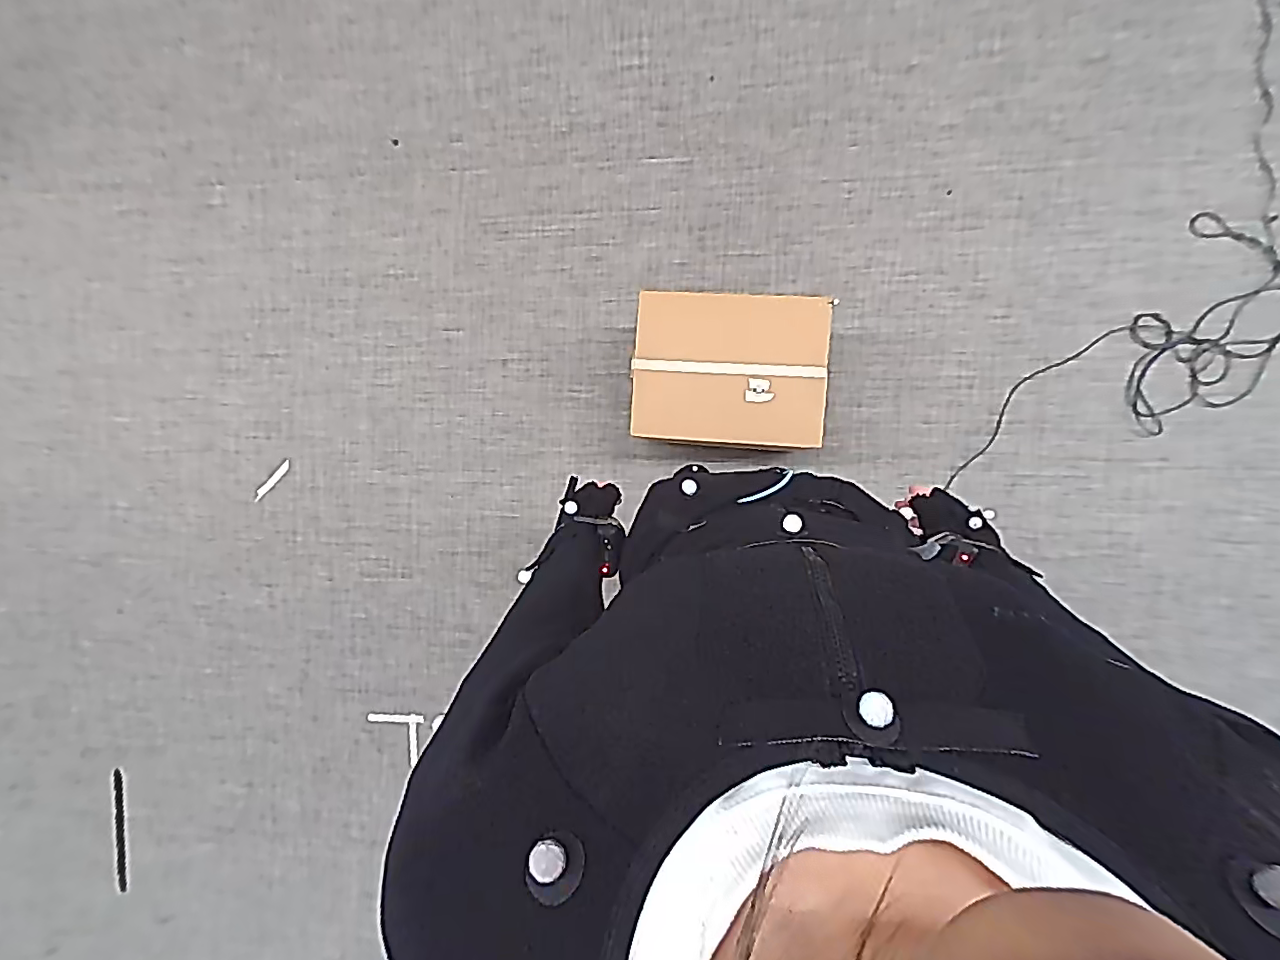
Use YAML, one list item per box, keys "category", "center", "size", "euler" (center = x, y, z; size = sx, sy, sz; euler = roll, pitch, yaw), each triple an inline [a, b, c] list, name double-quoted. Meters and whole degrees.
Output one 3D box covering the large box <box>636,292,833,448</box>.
- category: "large box"
  center: [0.210, -0.243, 1.292]
  size: [0.408, 0.320, 0.320]
  euler: [4, 93, 6]
